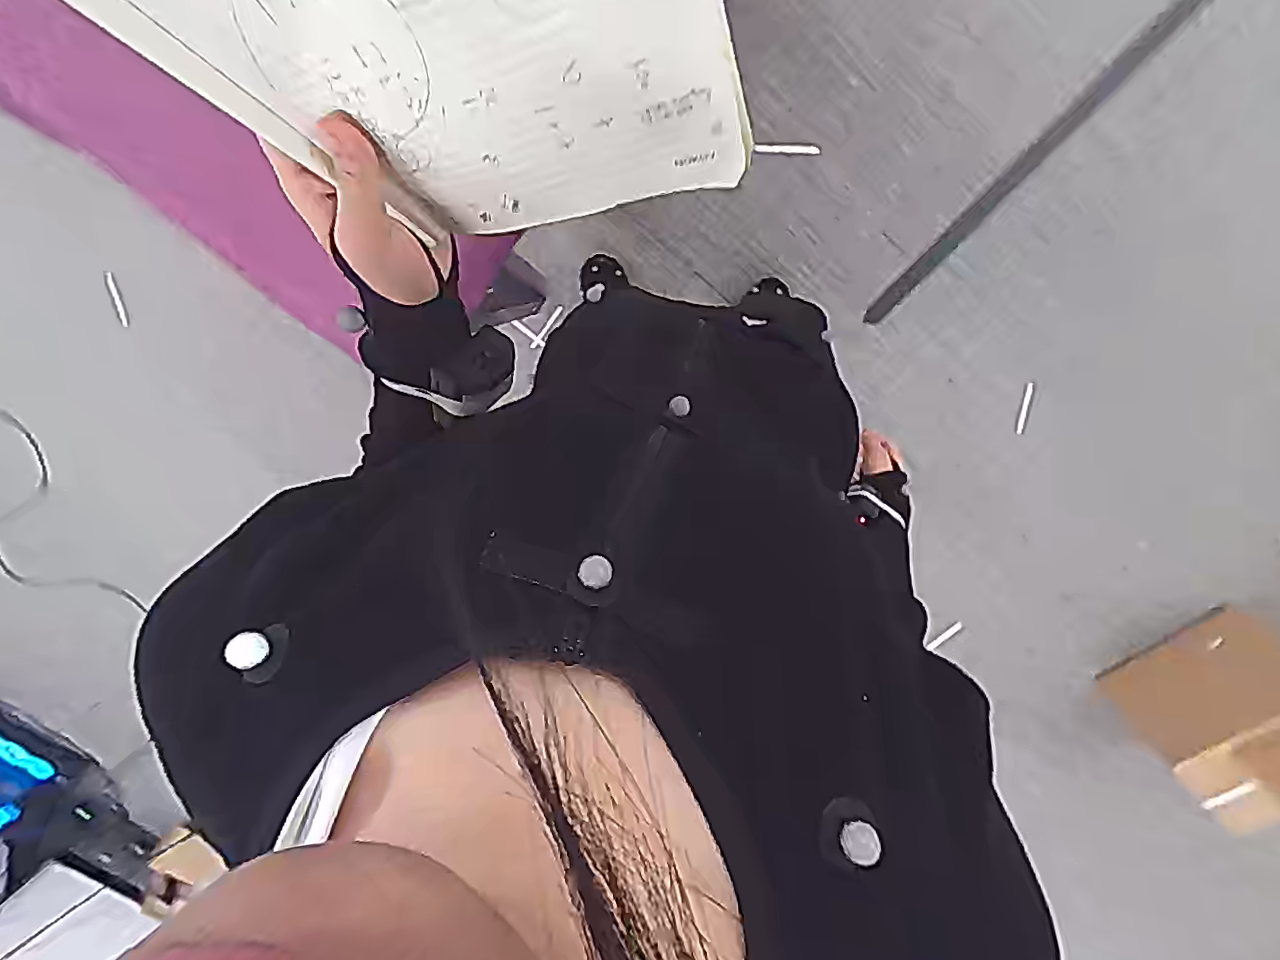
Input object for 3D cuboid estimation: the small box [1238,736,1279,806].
[{"bbox_3d":[1.513,0.685,1.197,0.179,0.176,0.168,44,111,-10],"label":"small box"}]
